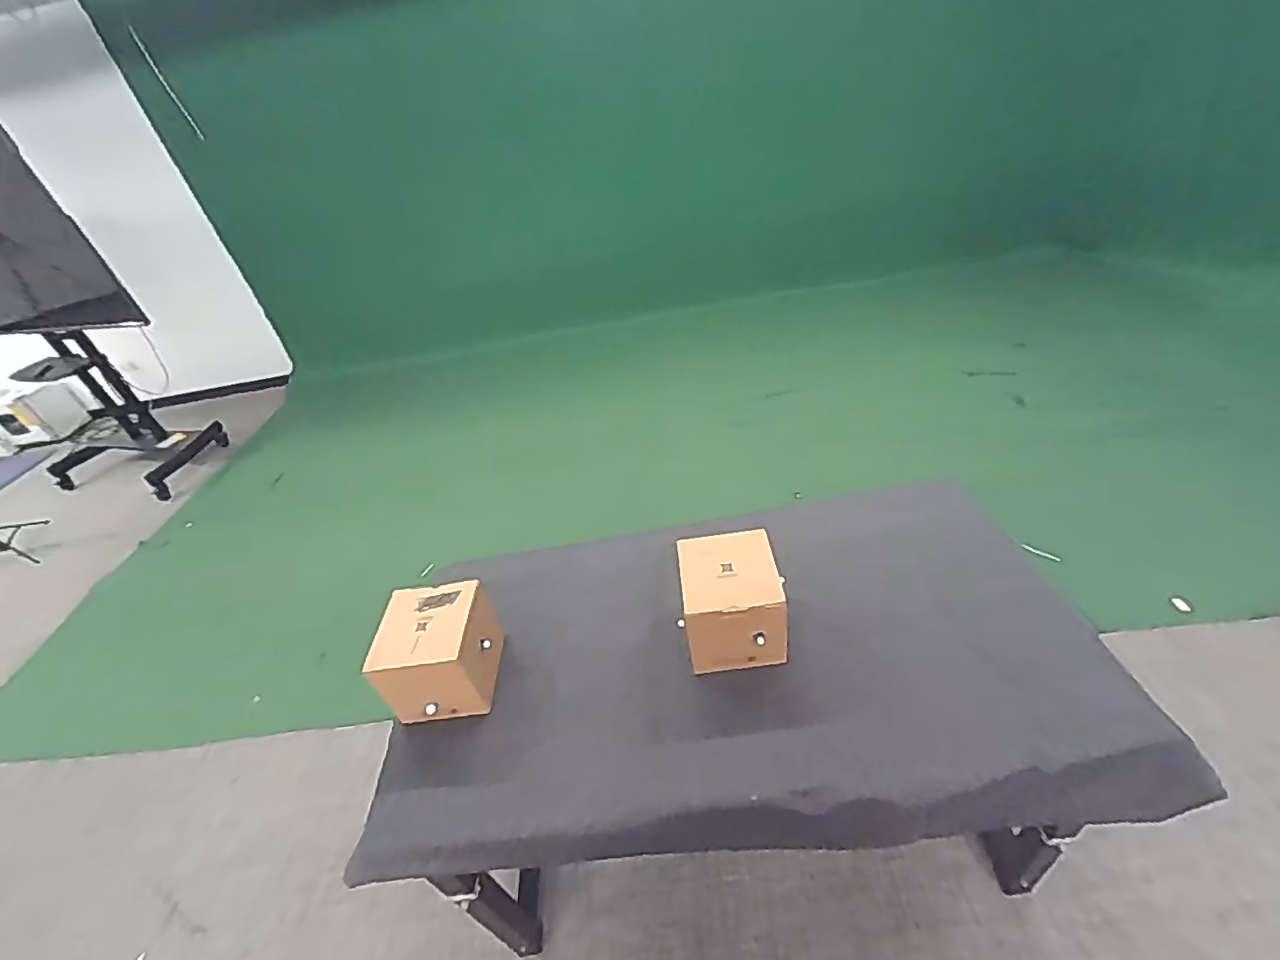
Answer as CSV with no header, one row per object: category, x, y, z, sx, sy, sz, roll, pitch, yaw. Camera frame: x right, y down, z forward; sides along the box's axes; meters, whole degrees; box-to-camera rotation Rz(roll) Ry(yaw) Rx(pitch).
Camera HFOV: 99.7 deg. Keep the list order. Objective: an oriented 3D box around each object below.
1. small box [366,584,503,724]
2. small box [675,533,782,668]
small box,-0.362,0.319,0.995,0.168,0.176,0.179,-9,38,3
small box,0.160,0.225,0.985,0.168,0.176,0.179,-8,37,3
